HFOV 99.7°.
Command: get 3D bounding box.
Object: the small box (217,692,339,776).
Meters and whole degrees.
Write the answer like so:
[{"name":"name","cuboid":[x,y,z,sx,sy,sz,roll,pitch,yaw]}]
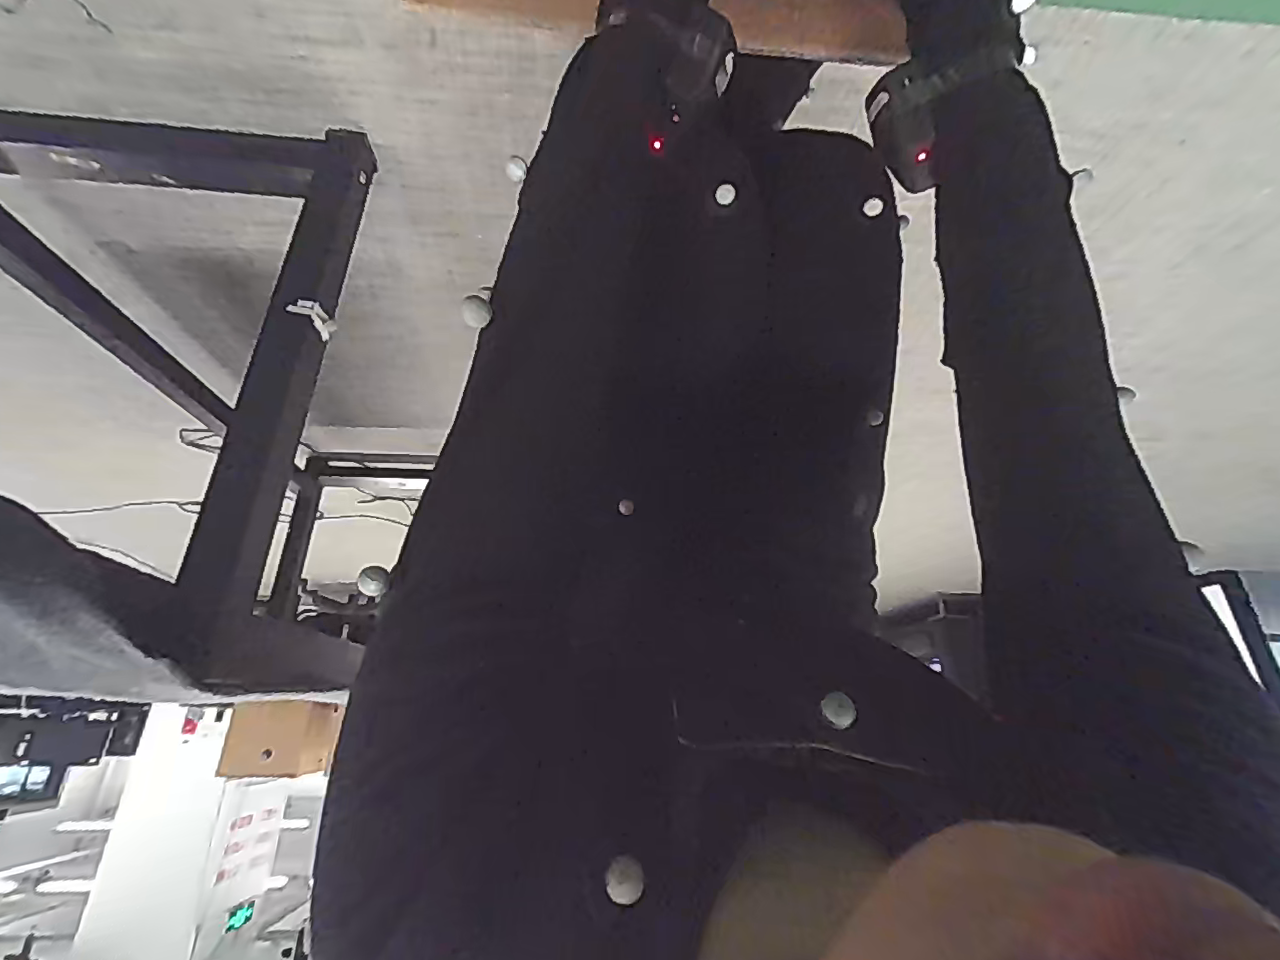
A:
[{"name":"small box","cuboid":[-0.840,0.595,1.280,0.179,0.176,0.168,2,157,-3]}]
